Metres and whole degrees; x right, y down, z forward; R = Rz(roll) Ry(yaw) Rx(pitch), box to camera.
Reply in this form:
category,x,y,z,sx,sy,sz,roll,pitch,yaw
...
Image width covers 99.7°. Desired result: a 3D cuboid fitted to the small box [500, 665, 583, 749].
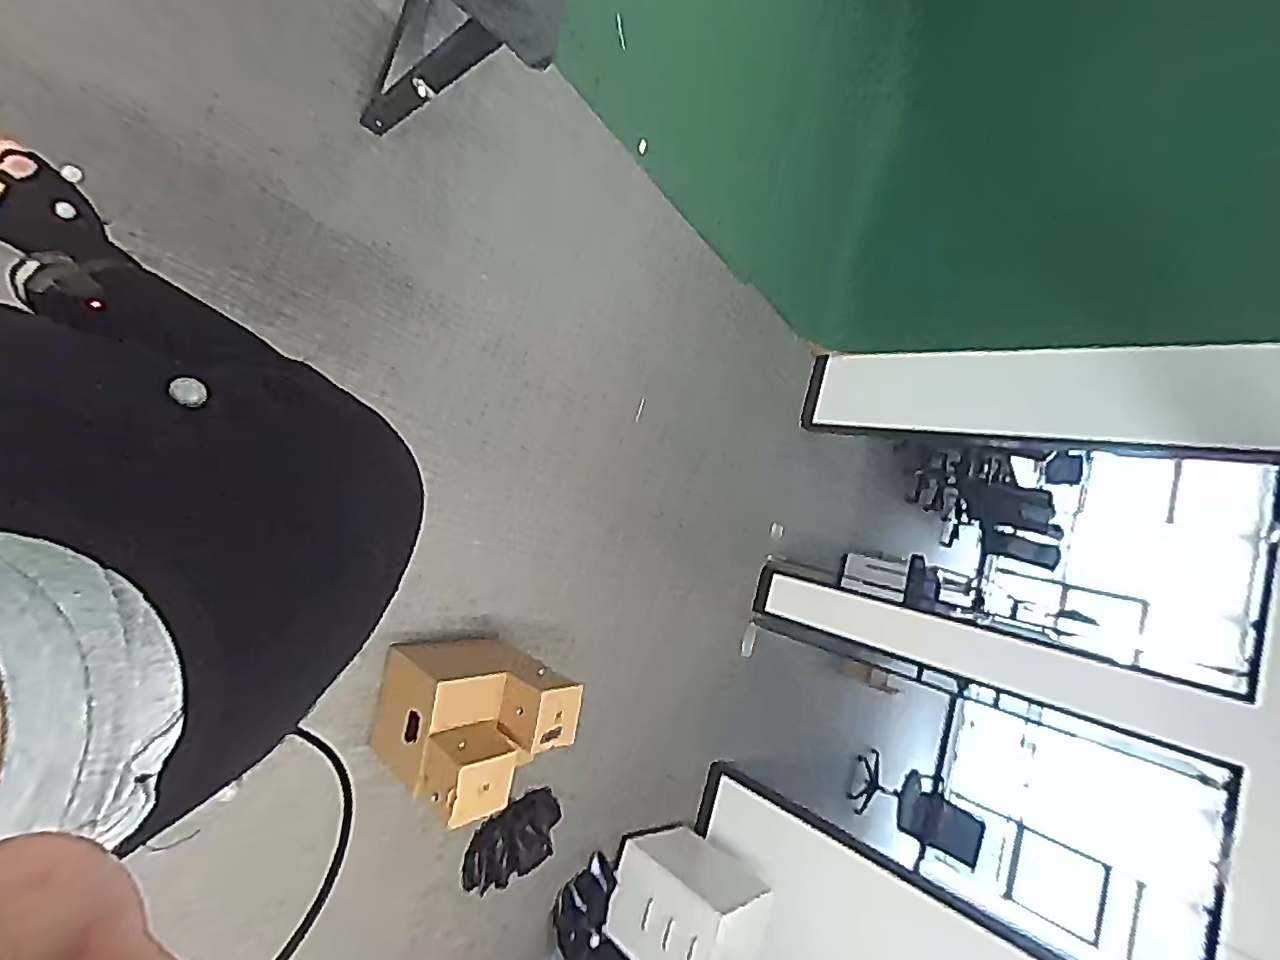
category,x,y,z,sx,sy,sz,roll,pitch,yaw
small box,-0.298,0.672,1.621,0.168,0.176,0.179,15,83,-49

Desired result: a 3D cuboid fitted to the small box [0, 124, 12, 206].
category,x,y,z,sx,sy,sz,roll,pitch,yaw
small box,-0.705,-0.278,0.472,0.179,0.176,0.168,-49,147,5

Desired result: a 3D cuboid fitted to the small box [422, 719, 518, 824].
category,x,y,z,sx,sy,sz,roll,pitch,yaw
small box,-0.462,0.776,1.460,0.179,0.176,0.168,8,94,-50
